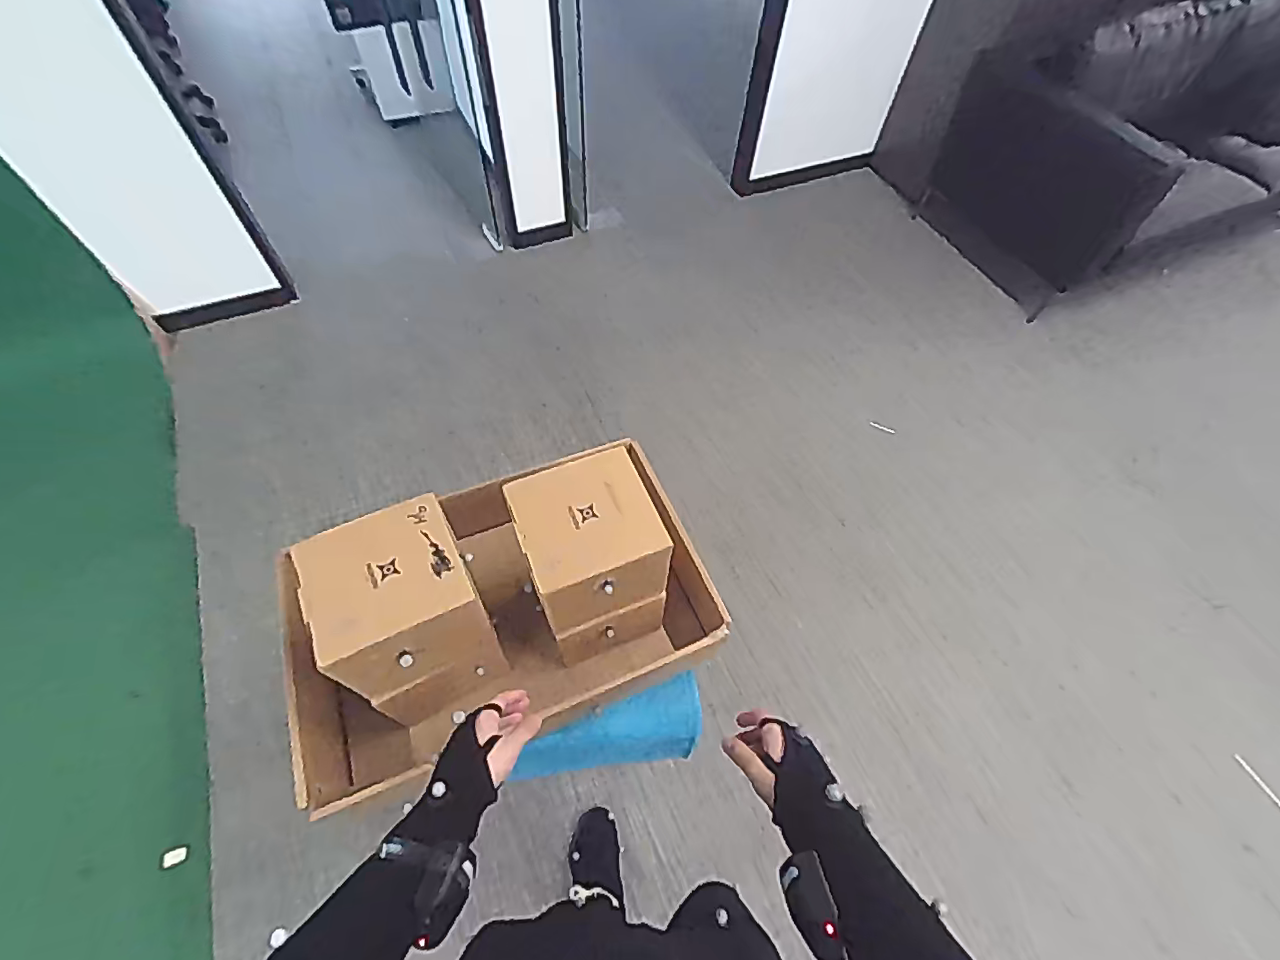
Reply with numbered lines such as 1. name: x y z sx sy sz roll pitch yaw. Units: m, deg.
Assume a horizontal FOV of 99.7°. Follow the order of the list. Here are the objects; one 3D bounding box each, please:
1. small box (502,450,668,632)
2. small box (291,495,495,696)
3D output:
1. small box: -0.073 0.090 0.754 0.179 0.176 0.168 -19 60 -13
2. small box: -0.309 0.155 0.701 0.179 0.176 0.168 -23 62 -18
